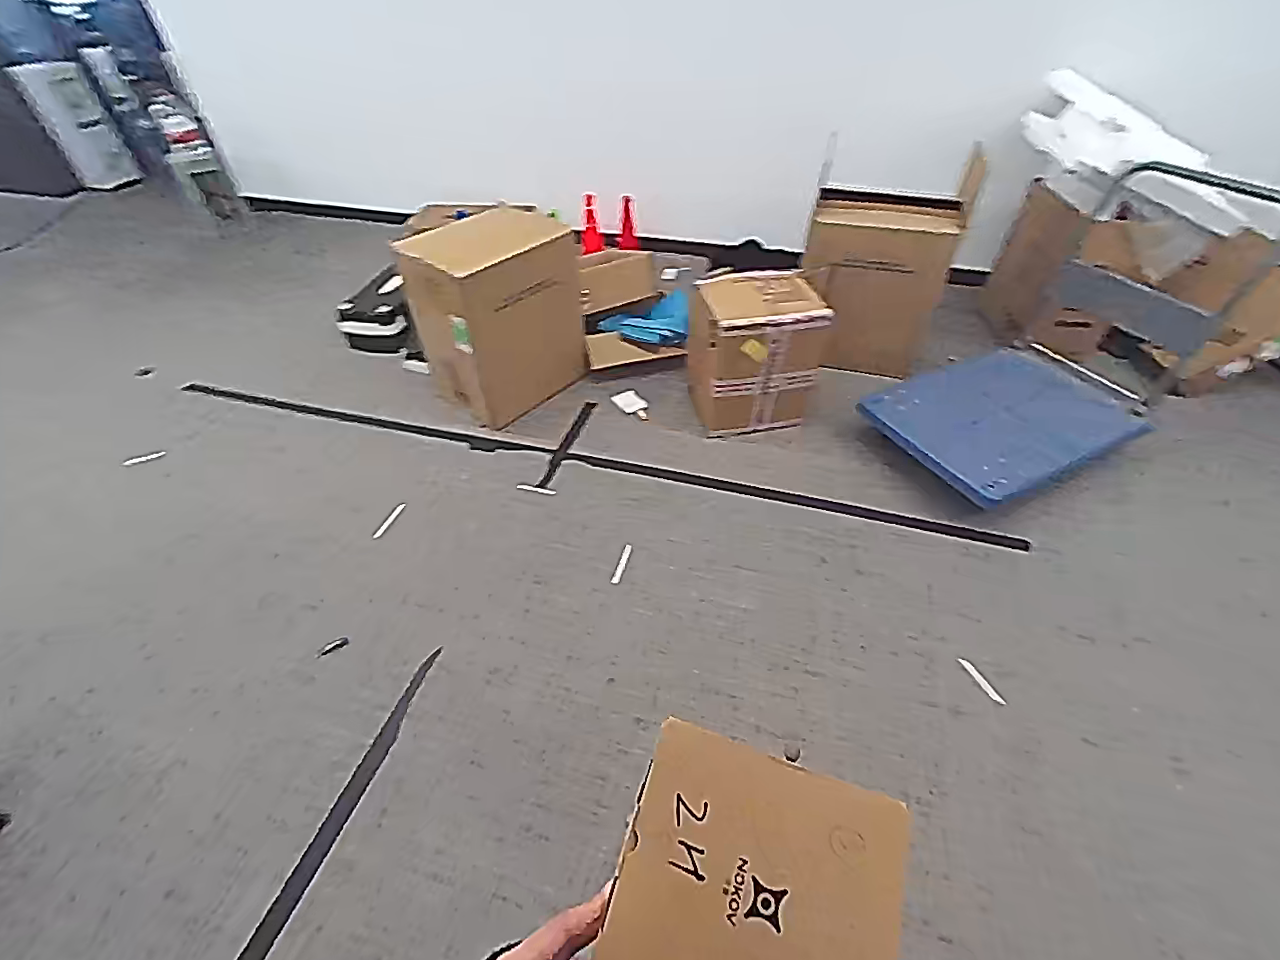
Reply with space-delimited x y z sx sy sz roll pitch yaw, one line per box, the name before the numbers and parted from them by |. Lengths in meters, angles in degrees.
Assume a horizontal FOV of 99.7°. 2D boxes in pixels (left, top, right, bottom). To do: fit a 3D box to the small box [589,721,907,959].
small box | 0.079 0.303 0.417 0.179 0.176 0.168 14 64 15
